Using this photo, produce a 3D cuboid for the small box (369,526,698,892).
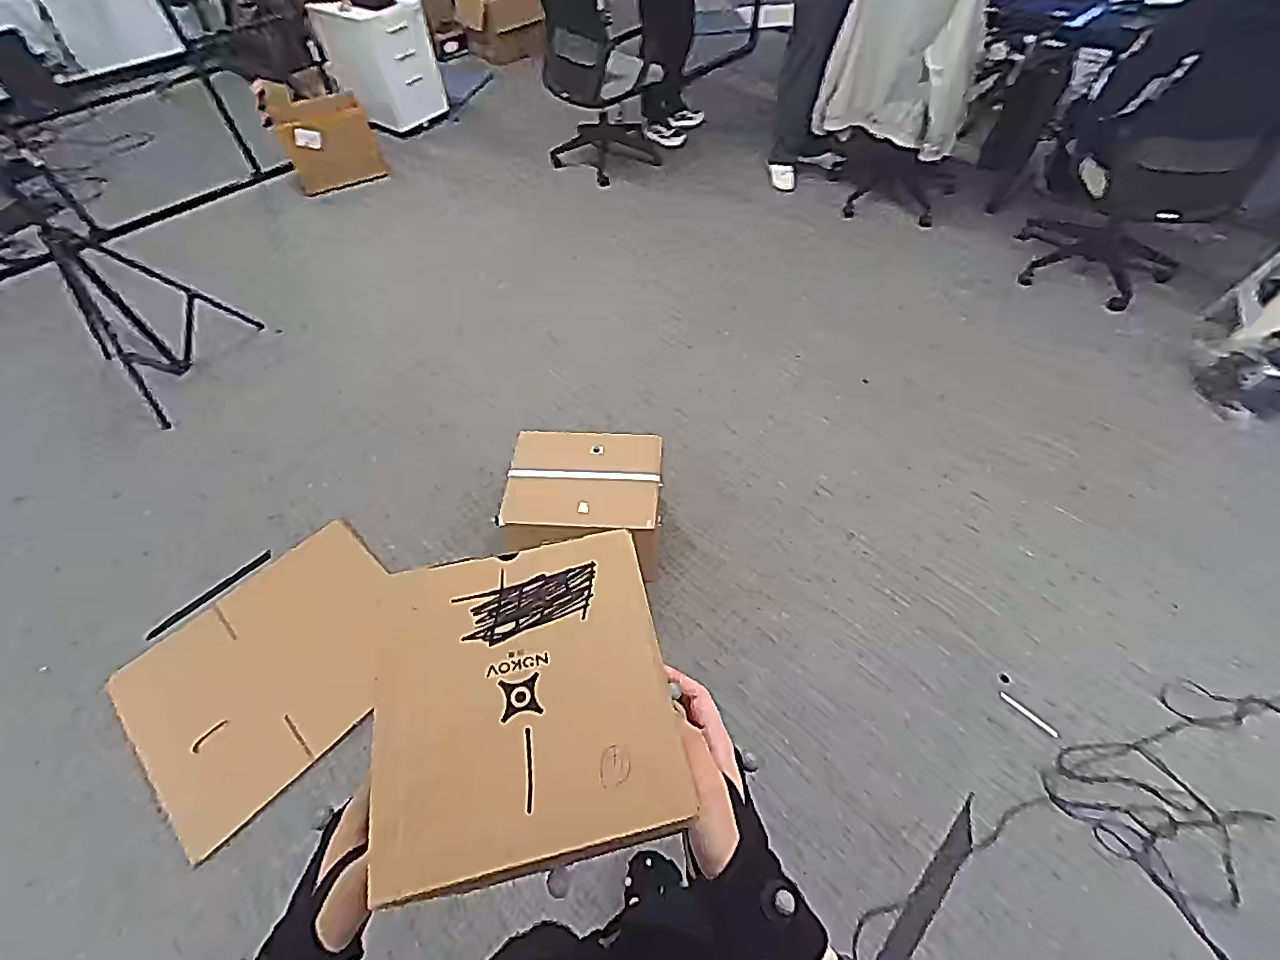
[{"bbox_3d":[-0.068,0.160,0.378,0.168,0.176,0.179,-12,56,-8],"label":"small box"}]
